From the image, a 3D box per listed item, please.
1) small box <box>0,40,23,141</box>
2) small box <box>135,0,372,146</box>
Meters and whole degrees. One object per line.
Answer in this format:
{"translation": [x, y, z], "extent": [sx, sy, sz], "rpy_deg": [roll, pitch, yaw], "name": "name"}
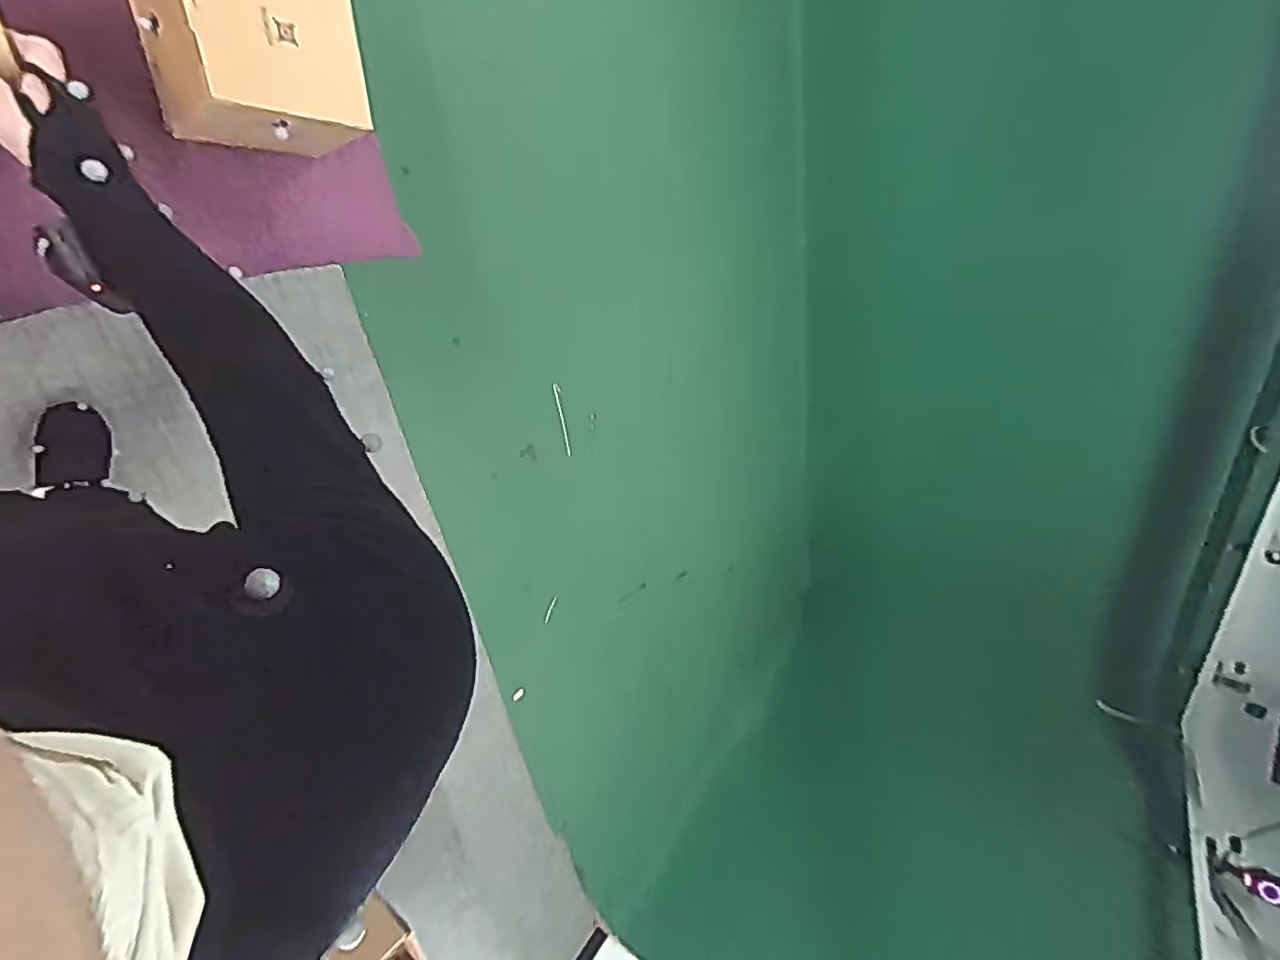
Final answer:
{"translation": [-0.638, -0.394, 0.424], "extent": [0.168, 0.176, 0.179], "rpy_deg": [-21, 117, -41], "name": "small box"}
{"translation": [-0.455, -0.512, 0.639], "extent": [0.179, 0.176, 0.168], "rpy_deg": [-23, 118, -45], "name": "small box"}
